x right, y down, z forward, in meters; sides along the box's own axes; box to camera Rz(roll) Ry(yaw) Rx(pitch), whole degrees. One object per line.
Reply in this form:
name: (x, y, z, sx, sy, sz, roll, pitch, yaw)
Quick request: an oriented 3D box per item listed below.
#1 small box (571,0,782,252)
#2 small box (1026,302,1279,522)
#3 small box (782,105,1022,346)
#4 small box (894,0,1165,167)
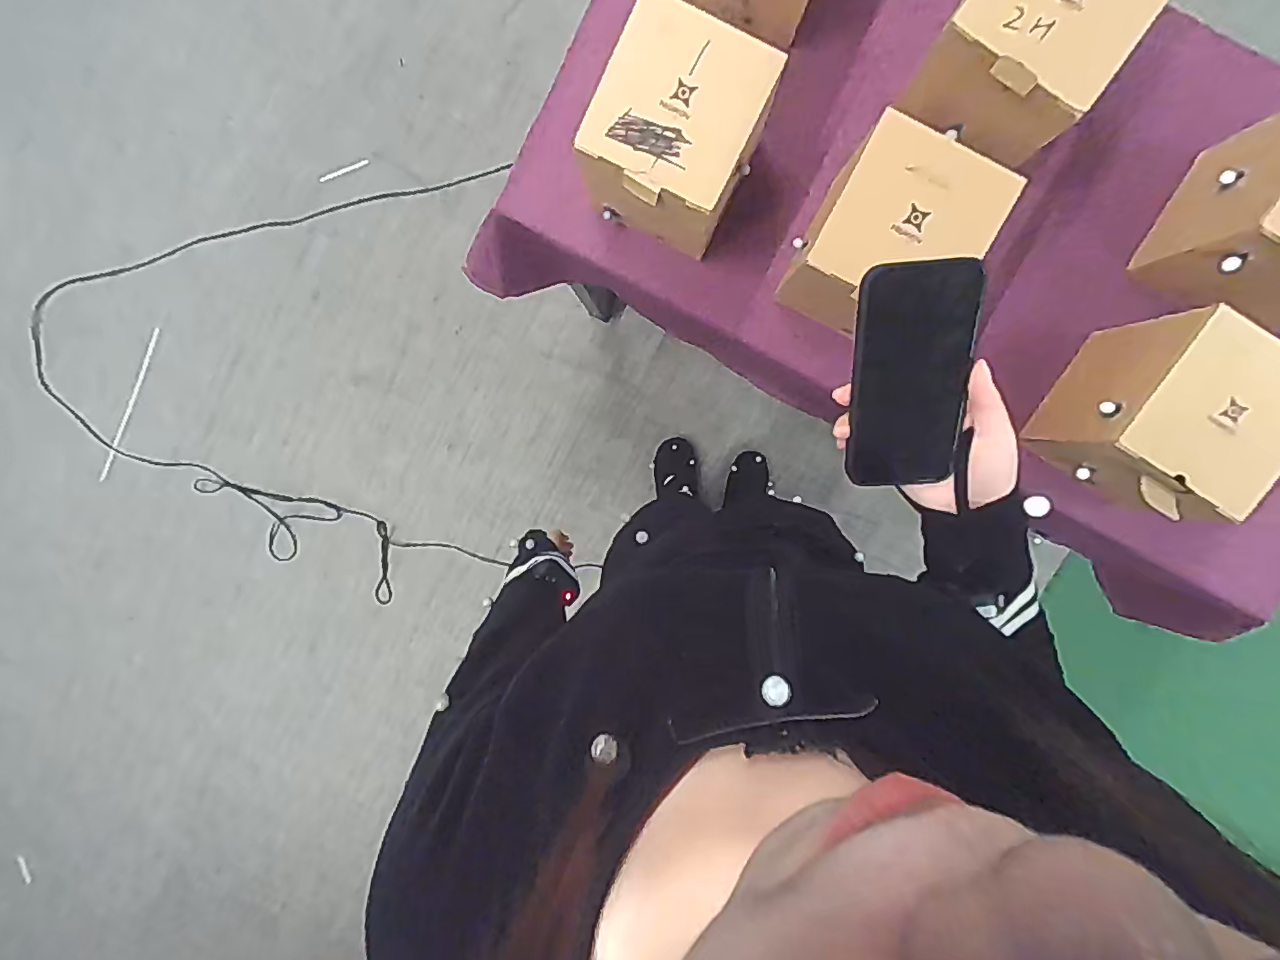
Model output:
small box: (0.040, -0.402, 0.637, 0.168, 0.176, 0.179, 27, 95, -1)
small box: (0.620, -0.078, 0.644, 0.168, 0.176, 0.179, 33, 97, -1)
small box: (0.285, -0.278, 0.640, 0.168, 0.176, 0.179, 28, 96, -1)
small box: (0.426, -0.491, 0.608, 0.168, 0.176, 0.179, 35, 97, -1)
